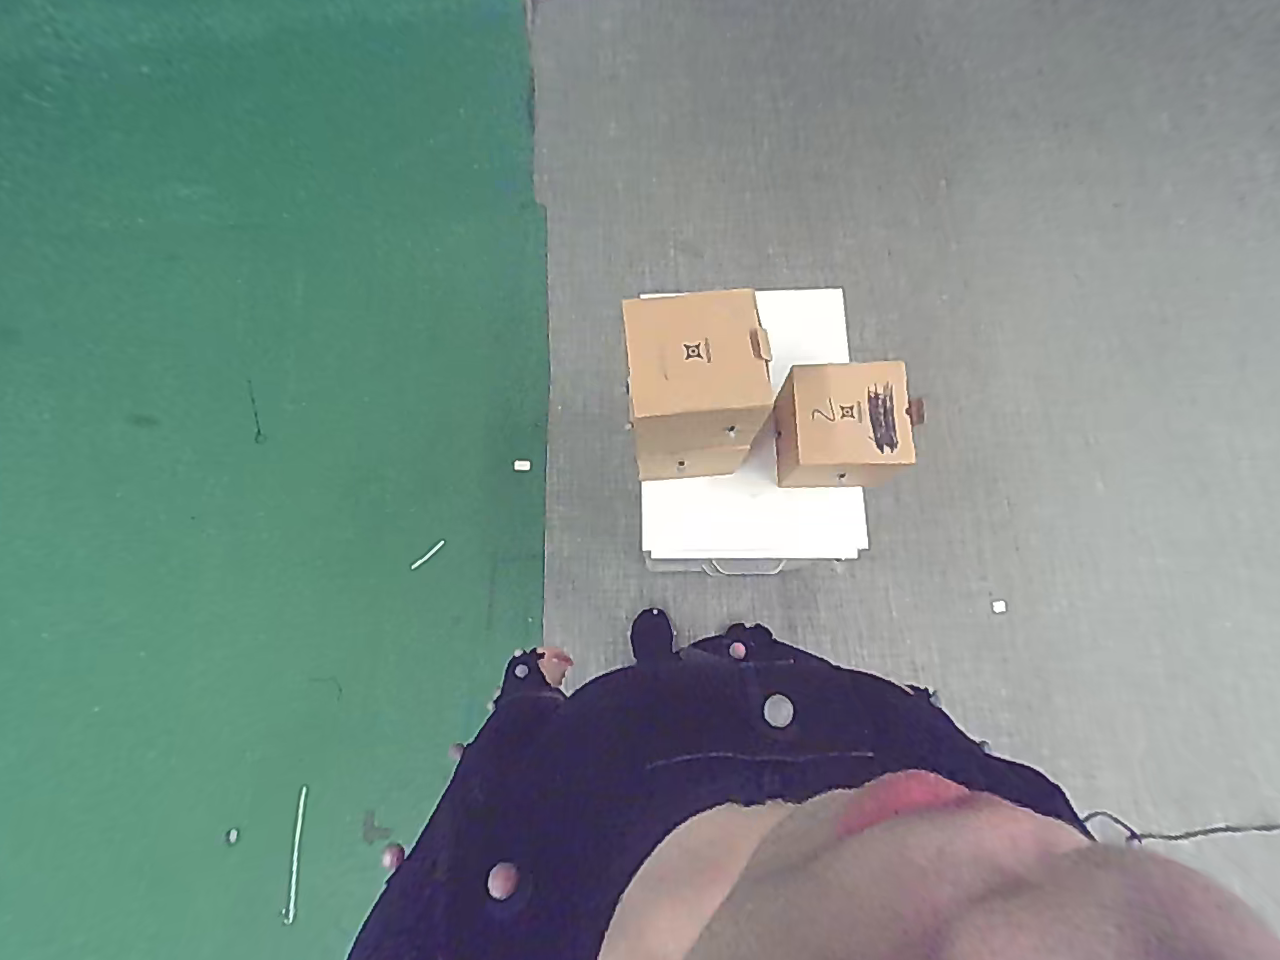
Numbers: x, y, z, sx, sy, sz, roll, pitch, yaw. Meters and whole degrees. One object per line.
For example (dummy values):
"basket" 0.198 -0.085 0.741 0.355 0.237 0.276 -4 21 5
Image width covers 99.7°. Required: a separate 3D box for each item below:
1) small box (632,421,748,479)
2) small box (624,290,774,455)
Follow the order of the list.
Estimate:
"small box" 0.076 -0.102 0.918 0.179 0.176 0.168 -5 77 0
"small box" 0.073 -0.141 0.760 0.179 0.176 0.168 -6 76 0
